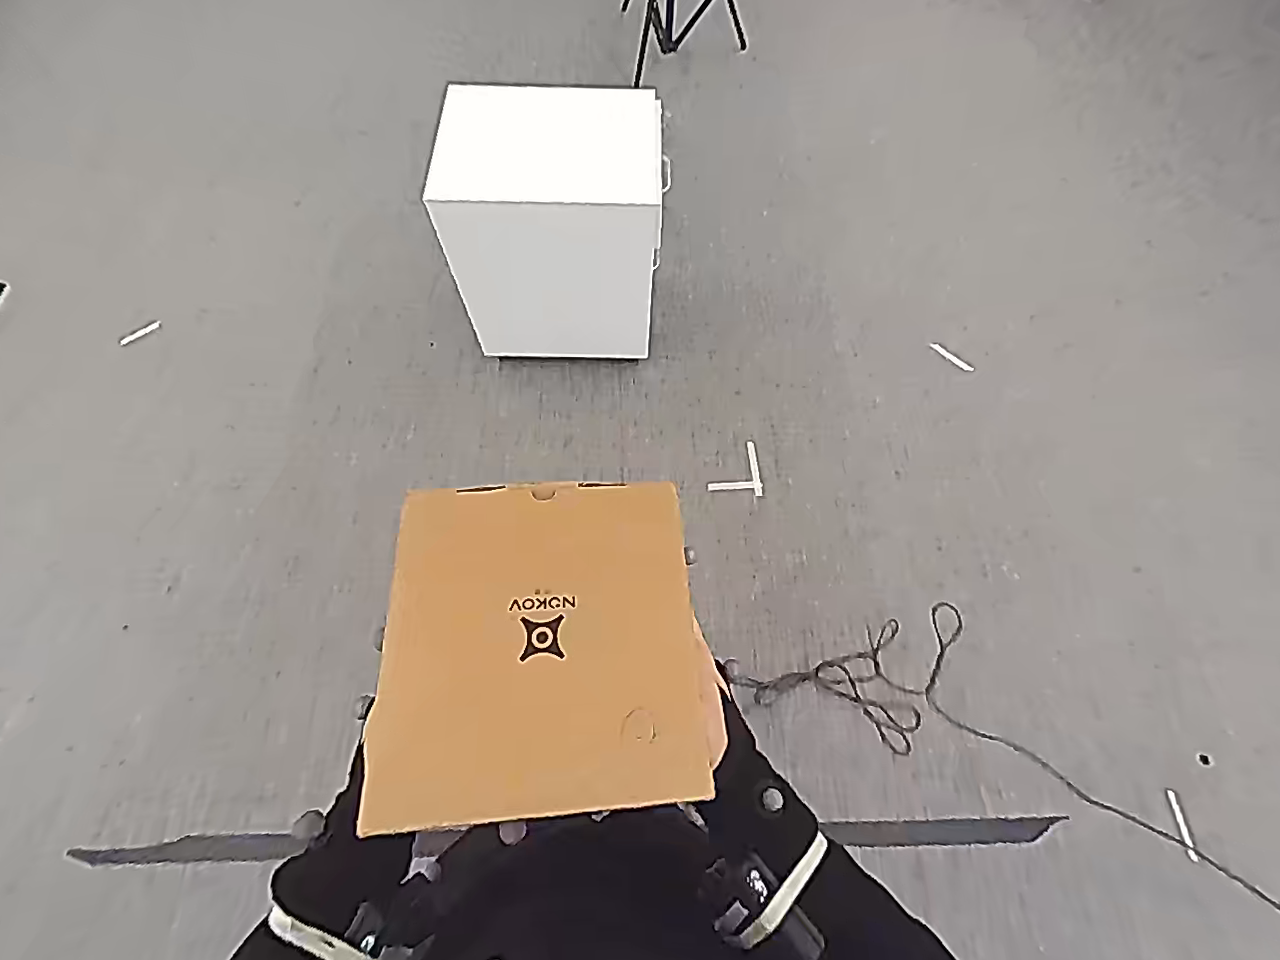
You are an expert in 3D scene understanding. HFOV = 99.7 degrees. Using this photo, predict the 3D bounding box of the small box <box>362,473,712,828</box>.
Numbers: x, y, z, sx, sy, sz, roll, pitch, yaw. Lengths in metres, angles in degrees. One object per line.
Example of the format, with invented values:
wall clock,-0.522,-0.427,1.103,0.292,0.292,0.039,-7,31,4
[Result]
small box,-0.058,0.113,0.358,0.168,0.176,0.179,-2,61,-7
